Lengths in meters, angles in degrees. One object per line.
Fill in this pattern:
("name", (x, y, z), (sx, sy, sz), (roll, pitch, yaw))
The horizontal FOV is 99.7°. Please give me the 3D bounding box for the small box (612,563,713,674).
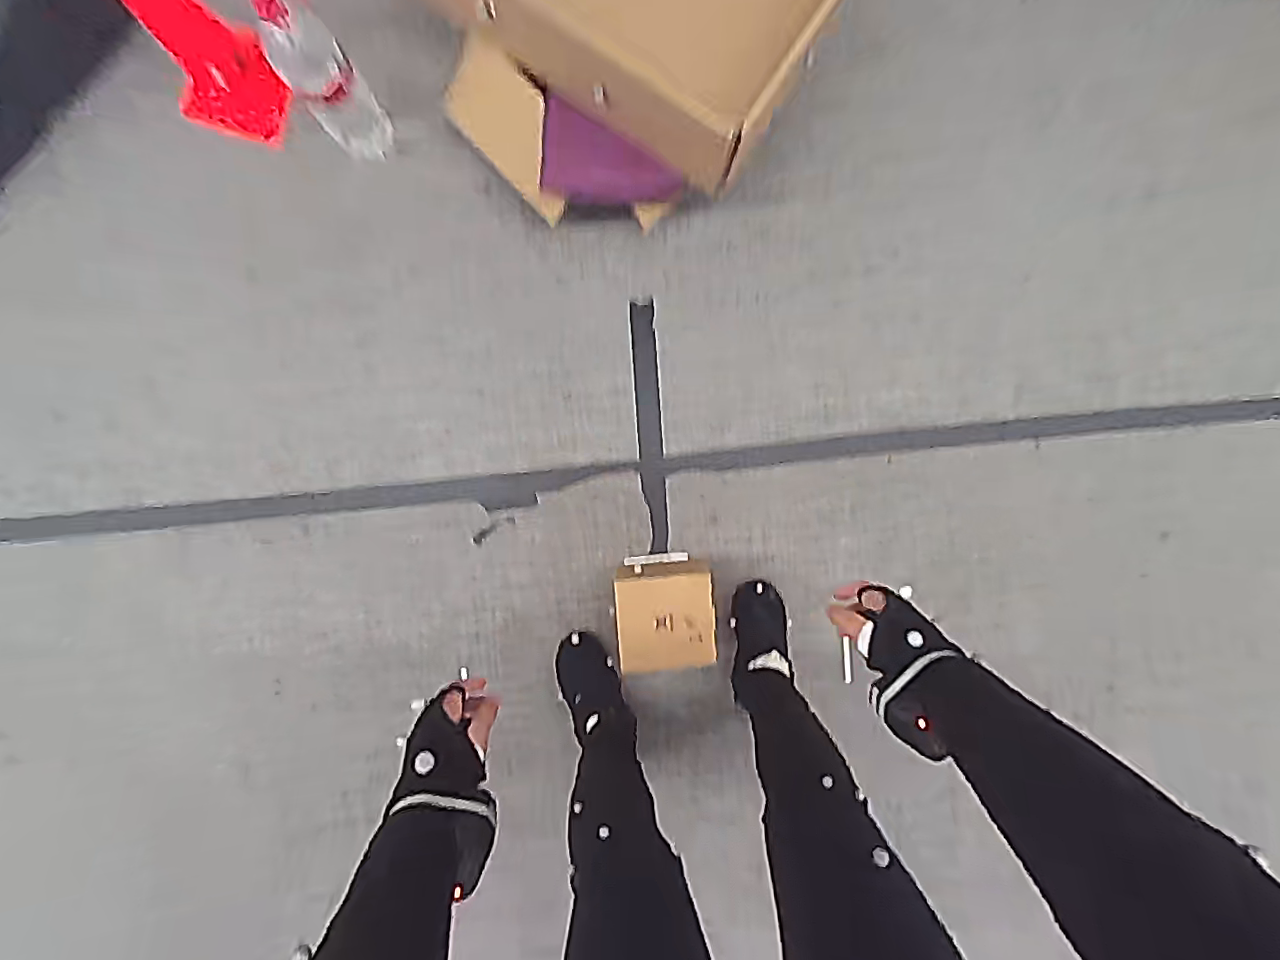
("small box", (0.039, 0.260, 1.045), (0.179, 0.176, 0.168), (-4, 92, -3))
